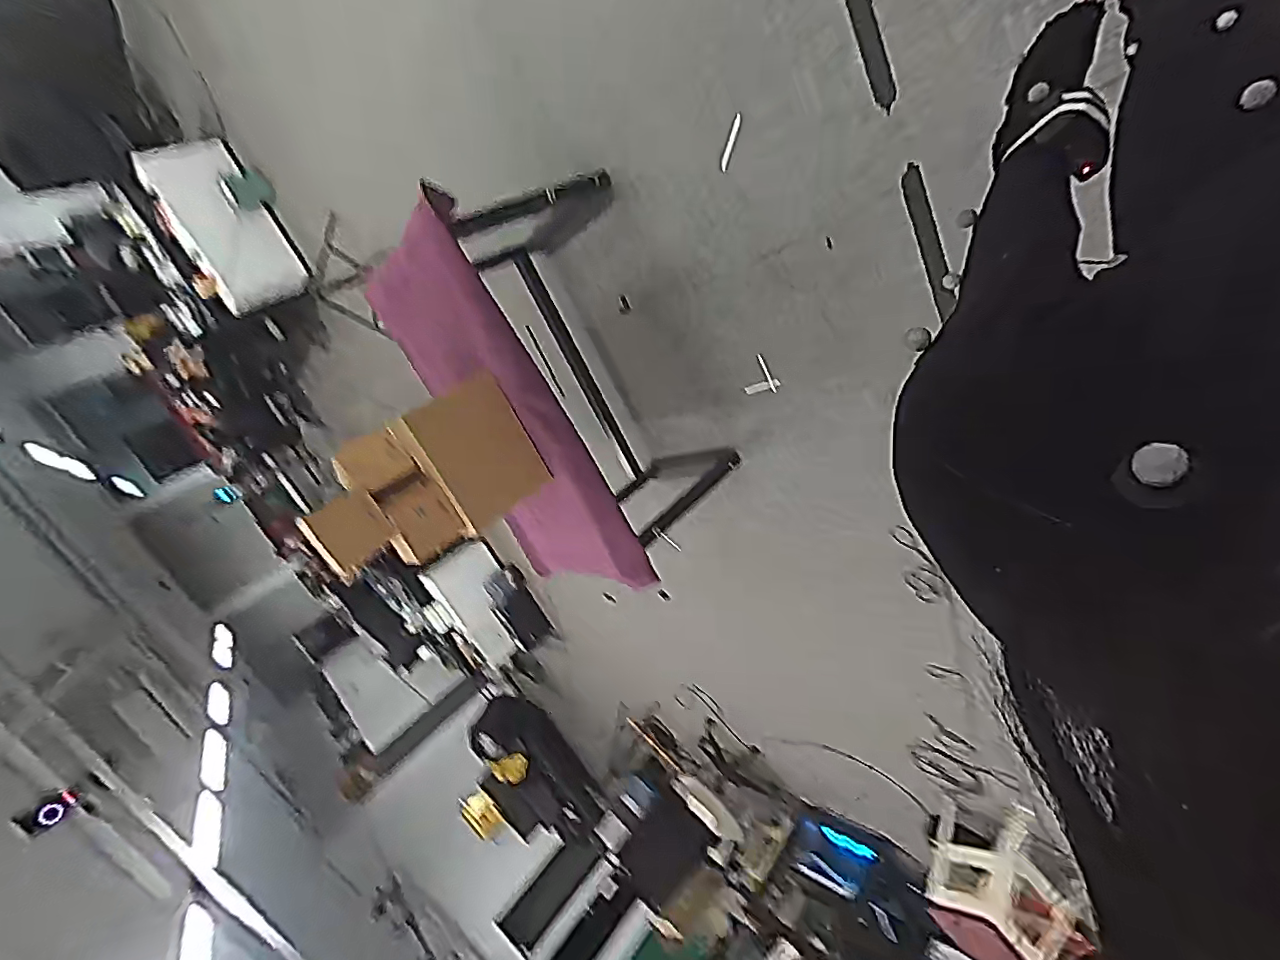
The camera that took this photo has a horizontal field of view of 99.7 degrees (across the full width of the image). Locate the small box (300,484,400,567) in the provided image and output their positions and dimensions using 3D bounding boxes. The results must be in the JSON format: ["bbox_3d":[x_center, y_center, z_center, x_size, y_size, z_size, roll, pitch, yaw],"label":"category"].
[{"bbox_3d":[-0.803,0.122,1.500,0.168,0.176,0.179,-11,114,54],"label":"small box"}]

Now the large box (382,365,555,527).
[{"bbox_3d":[-0.543,-0.097,1.726,0.320,0.320,0.408,-8,114,52],"label":"large box"}]

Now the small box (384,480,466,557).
[{"bbox_3d":[-0.644,0.112,1.601,0.179,0.176,0.168,-8,113,55],"label":"small box"}]
